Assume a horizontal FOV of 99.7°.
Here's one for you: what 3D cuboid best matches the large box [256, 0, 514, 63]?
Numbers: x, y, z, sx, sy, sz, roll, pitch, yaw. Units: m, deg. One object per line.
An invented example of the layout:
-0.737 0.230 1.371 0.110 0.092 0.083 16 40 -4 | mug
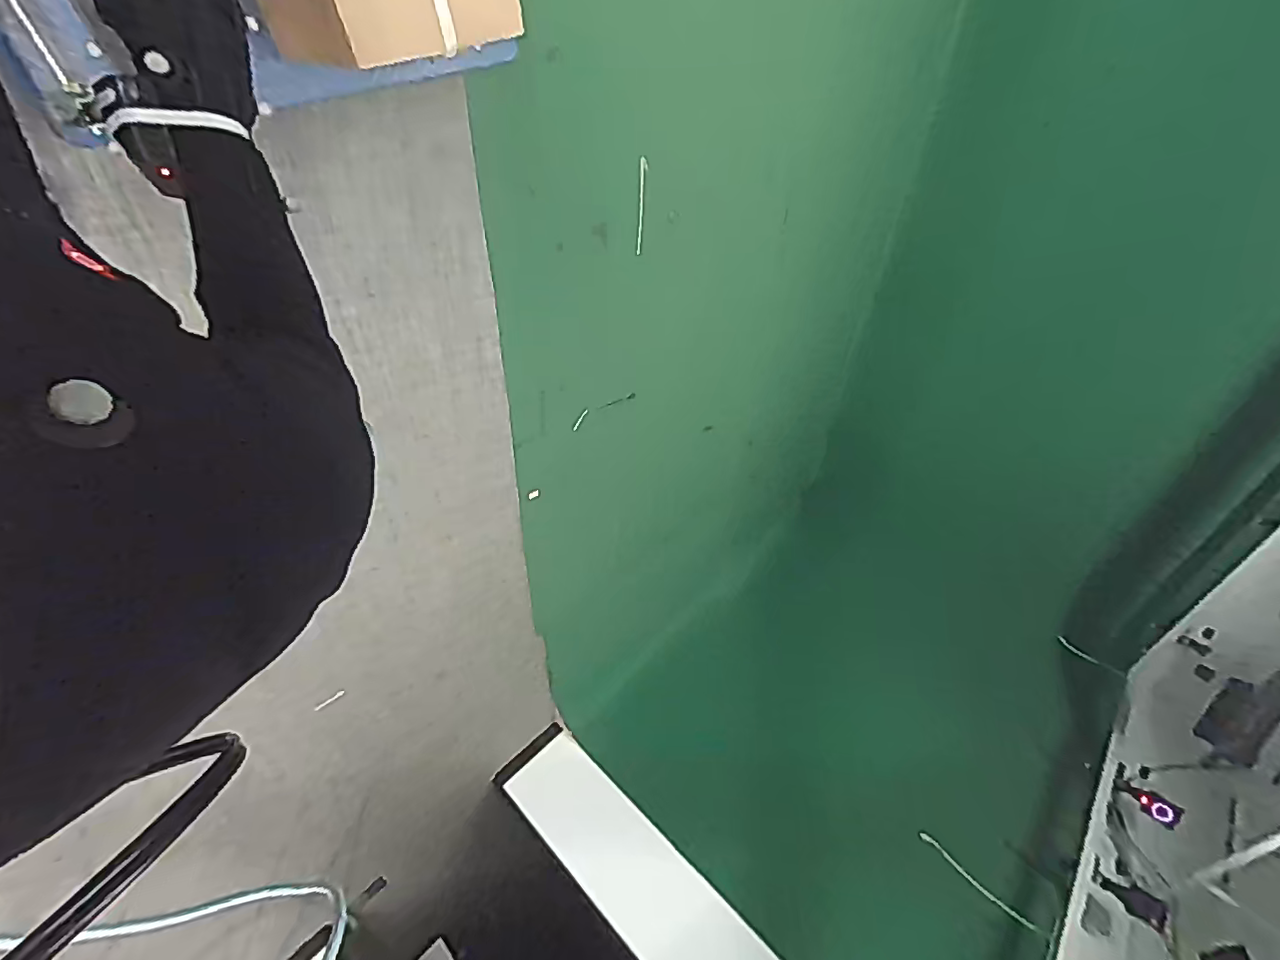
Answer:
-0.447 -0.907 0.808 0.320 0.320 0.408 -40 144 -28 | large box
